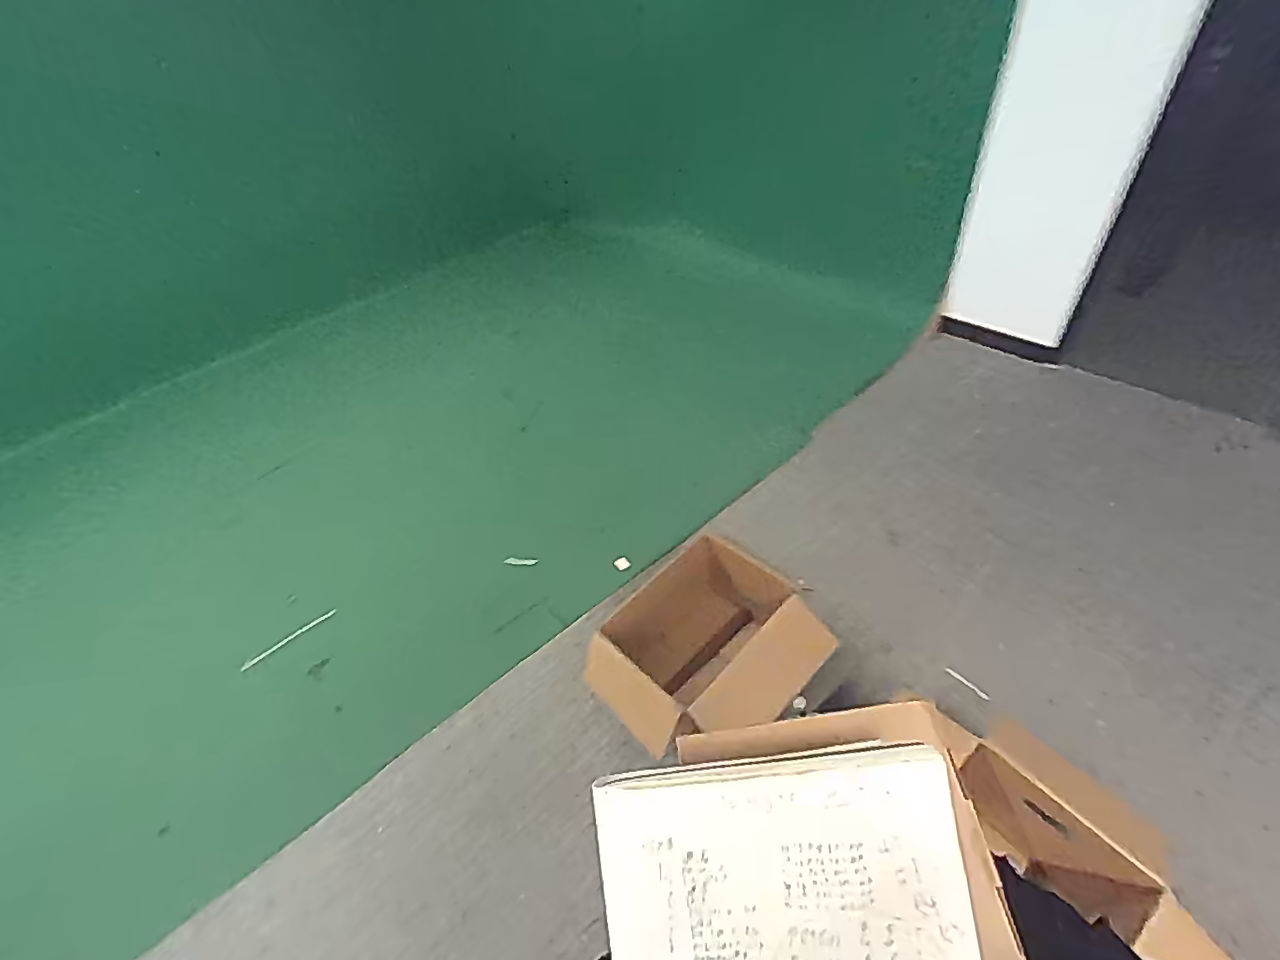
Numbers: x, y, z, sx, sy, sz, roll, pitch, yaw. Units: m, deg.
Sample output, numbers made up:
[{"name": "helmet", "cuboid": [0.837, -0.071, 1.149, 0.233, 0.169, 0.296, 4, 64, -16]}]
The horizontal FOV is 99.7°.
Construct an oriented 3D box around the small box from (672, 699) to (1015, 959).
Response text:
[{"name": "small box", "cuboid": [0.127, 0.266, 0.400, 0.179, 0.176, 0.168, -11, 61, 5]}]
